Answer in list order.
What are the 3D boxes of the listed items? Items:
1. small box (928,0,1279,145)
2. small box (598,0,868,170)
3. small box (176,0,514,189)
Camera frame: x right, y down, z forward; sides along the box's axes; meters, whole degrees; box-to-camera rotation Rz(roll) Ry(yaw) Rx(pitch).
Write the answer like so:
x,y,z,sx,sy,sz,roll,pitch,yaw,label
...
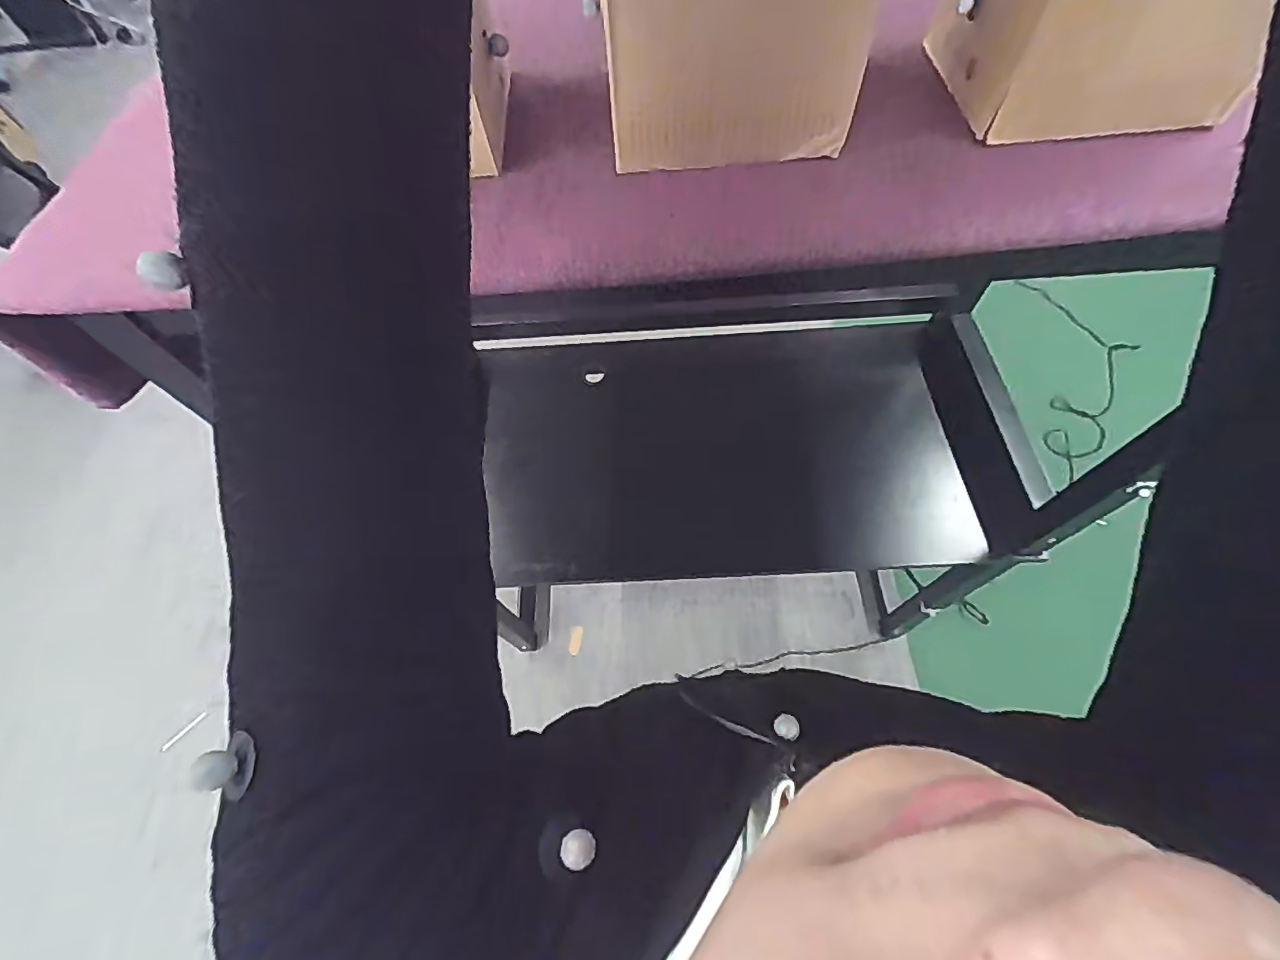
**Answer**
x,y,z,sx,sy,sz,roll,pitch,yaw,label
0.338,-0.368,0.377,0.179,0.176,0.168,-3,61,4,small box
0.060,-0.350,0.389,0.179,0.176,0.168,-3,62,3,small box
-0.208,-0.346,0.406,0.179,0.176,0.168,-5,63,2,small box
